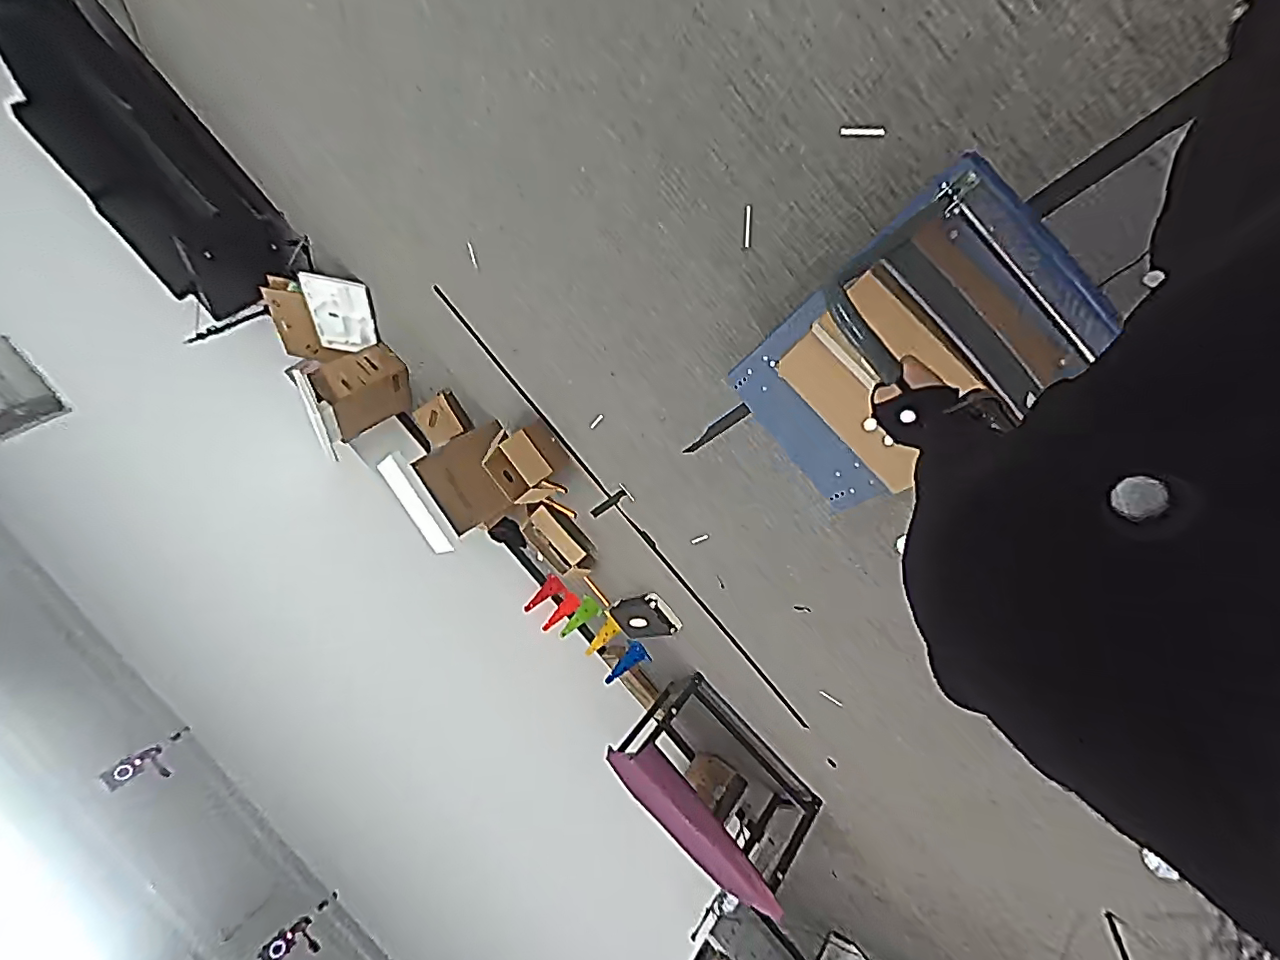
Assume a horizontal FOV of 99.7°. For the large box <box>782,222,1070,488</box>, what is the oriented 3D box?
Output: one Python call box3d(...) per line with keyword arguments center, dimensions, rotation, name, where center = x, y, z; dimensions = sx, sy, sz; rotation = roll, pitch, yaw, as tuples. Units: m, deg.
box3d(center=(0.606, -0.264, 1.171), dimensions=(0.408, 0.320, 0.320), rotation=(48, 147, 4), name="large box")
